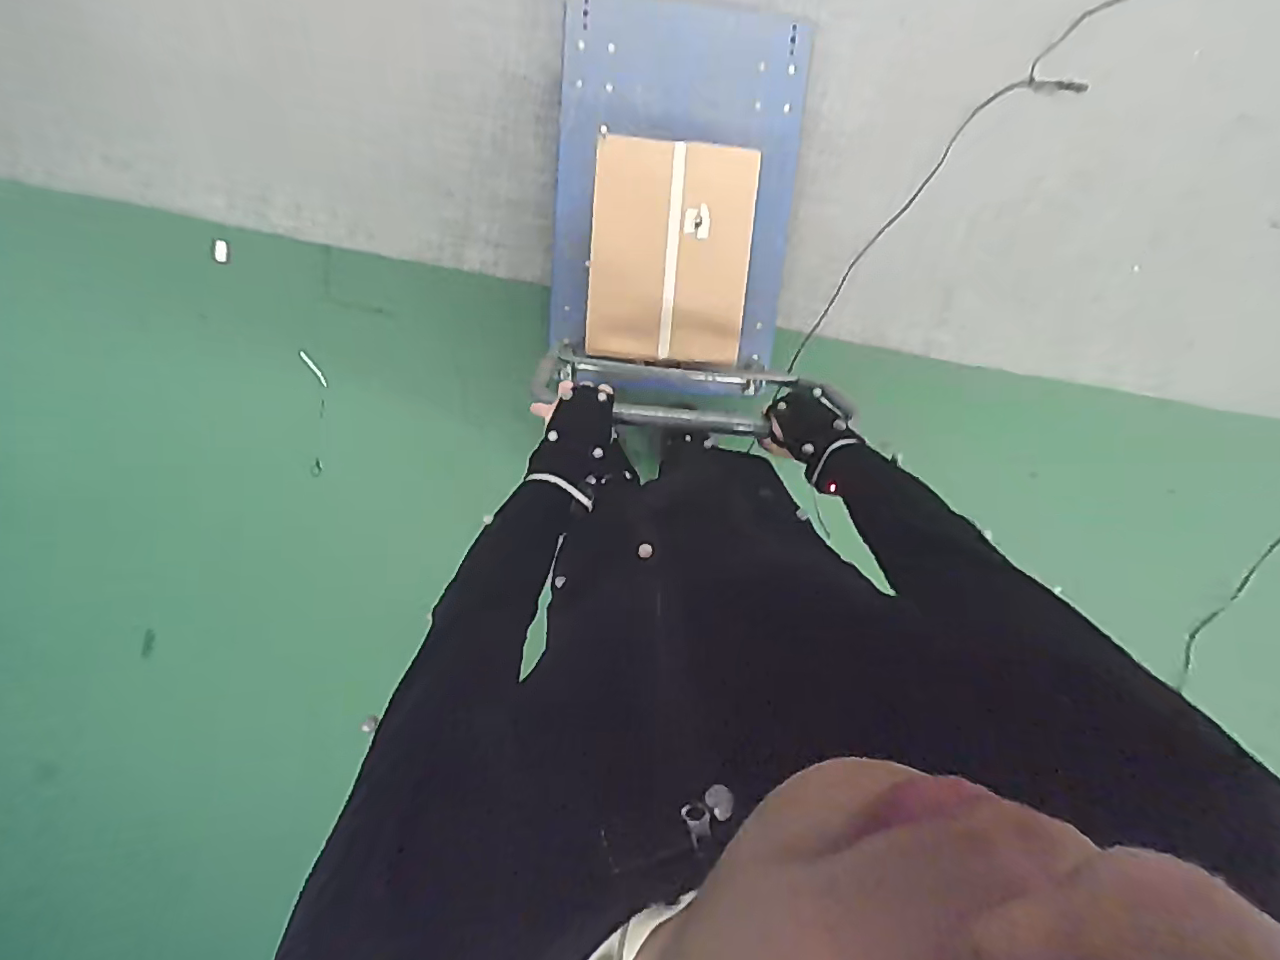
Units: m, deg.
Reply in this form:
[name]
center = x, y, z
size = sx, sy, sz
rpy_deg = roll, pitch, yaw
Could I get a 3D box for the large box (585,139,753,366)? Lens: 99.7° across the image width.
[large box]
center = 0.047, -0.471, 1.215
size = 0.320, 0.320, 0.408
rpy_deg = 4, 100, -5
